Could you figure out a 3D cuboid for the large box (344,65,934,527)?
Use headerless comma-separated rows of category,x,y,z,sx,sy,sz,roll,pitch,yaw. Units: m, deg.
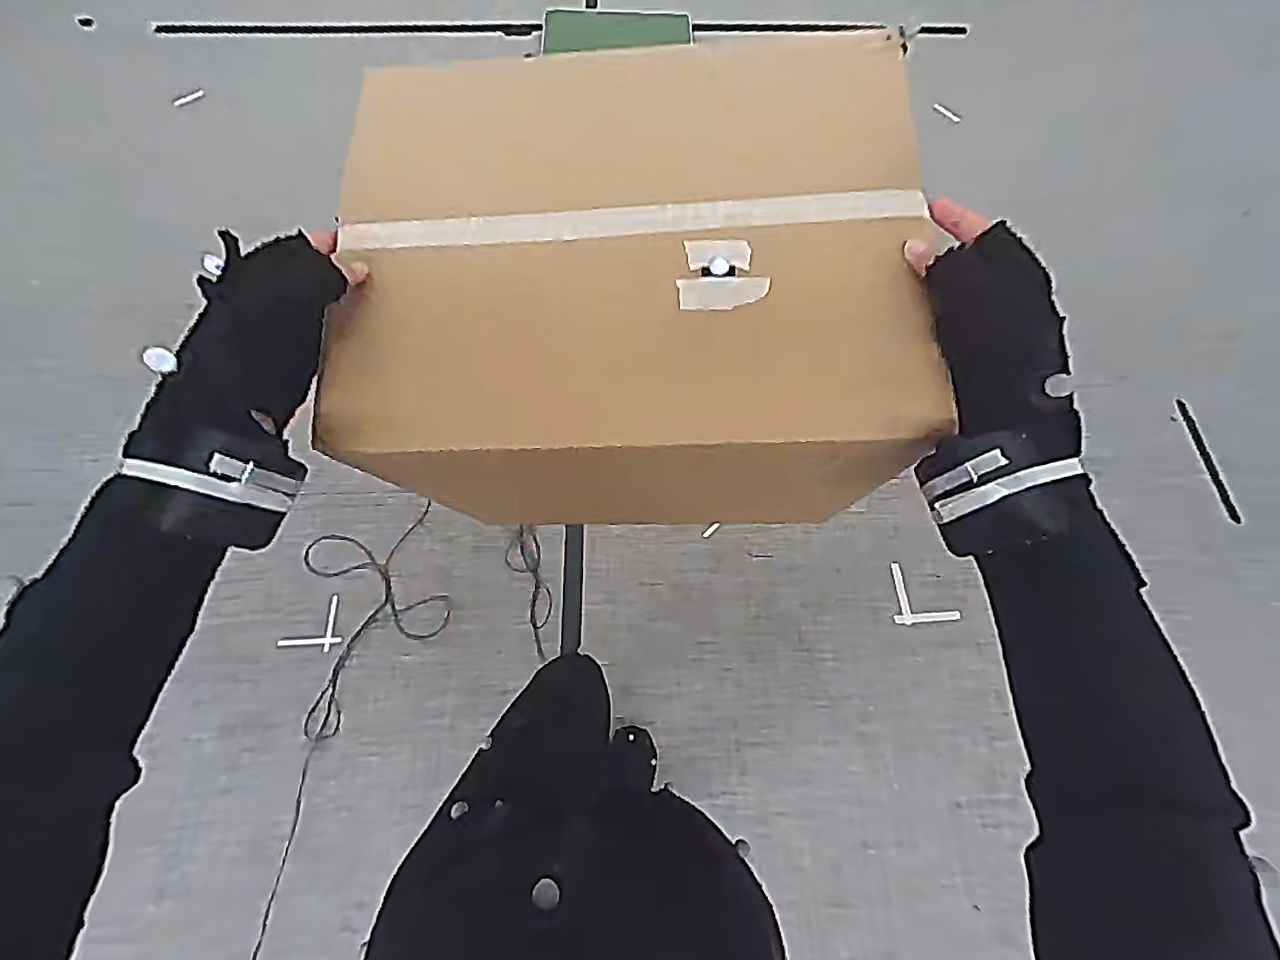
large box,0.000,-0.133,0.538,0.408,0.320,0.320,-1,77,4
